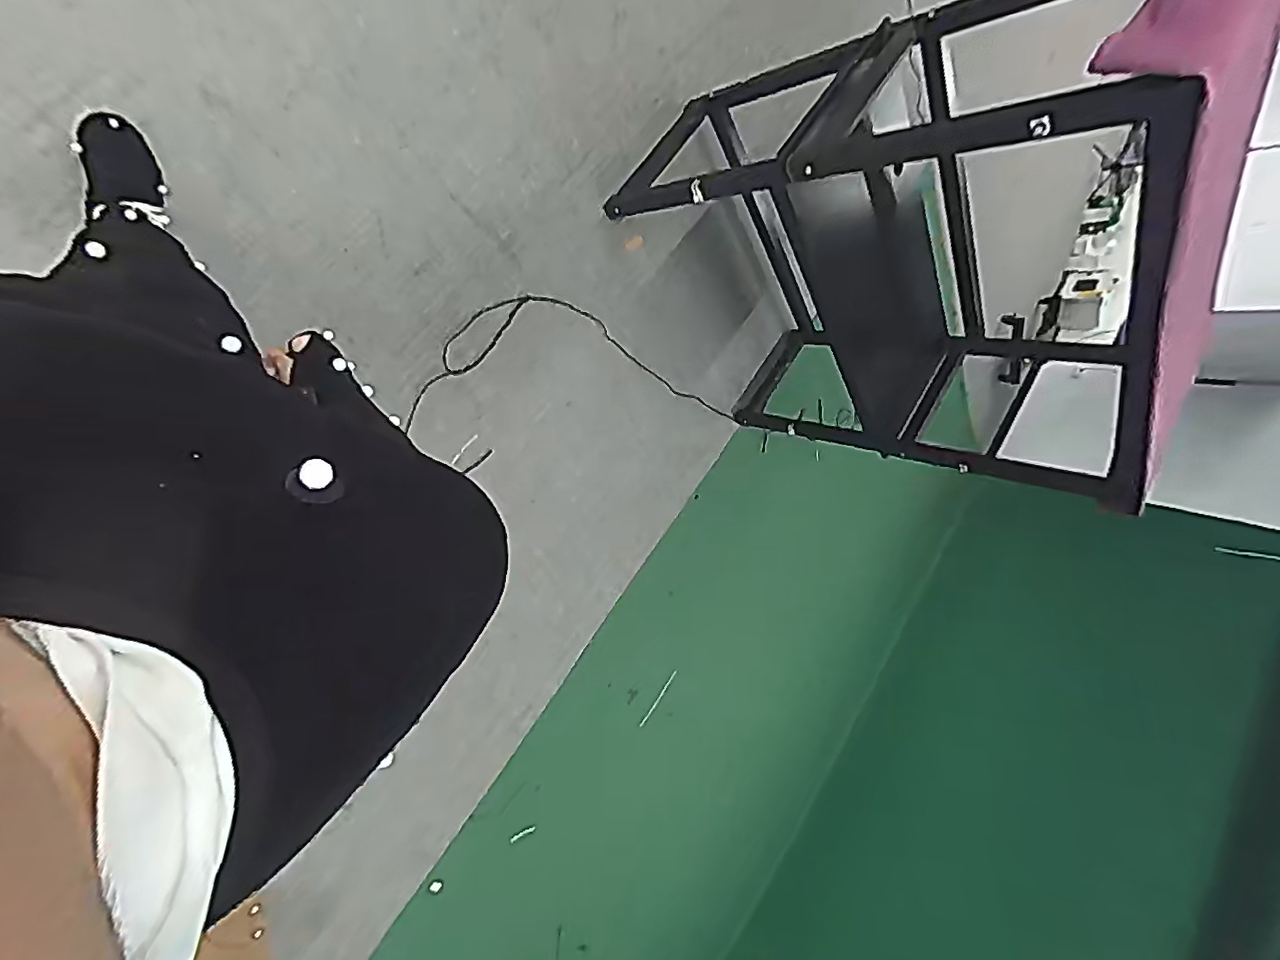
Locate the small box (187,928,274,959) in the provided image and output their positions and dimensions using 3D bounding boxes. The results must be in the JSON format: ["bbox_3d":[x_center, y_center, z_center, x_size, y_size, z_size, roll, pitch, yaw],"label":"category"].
[{"bbox_3d":[-1.064,1.282,1.368,0.179,0.176,0.168,-55,132,-13],"label":"small box"}]
